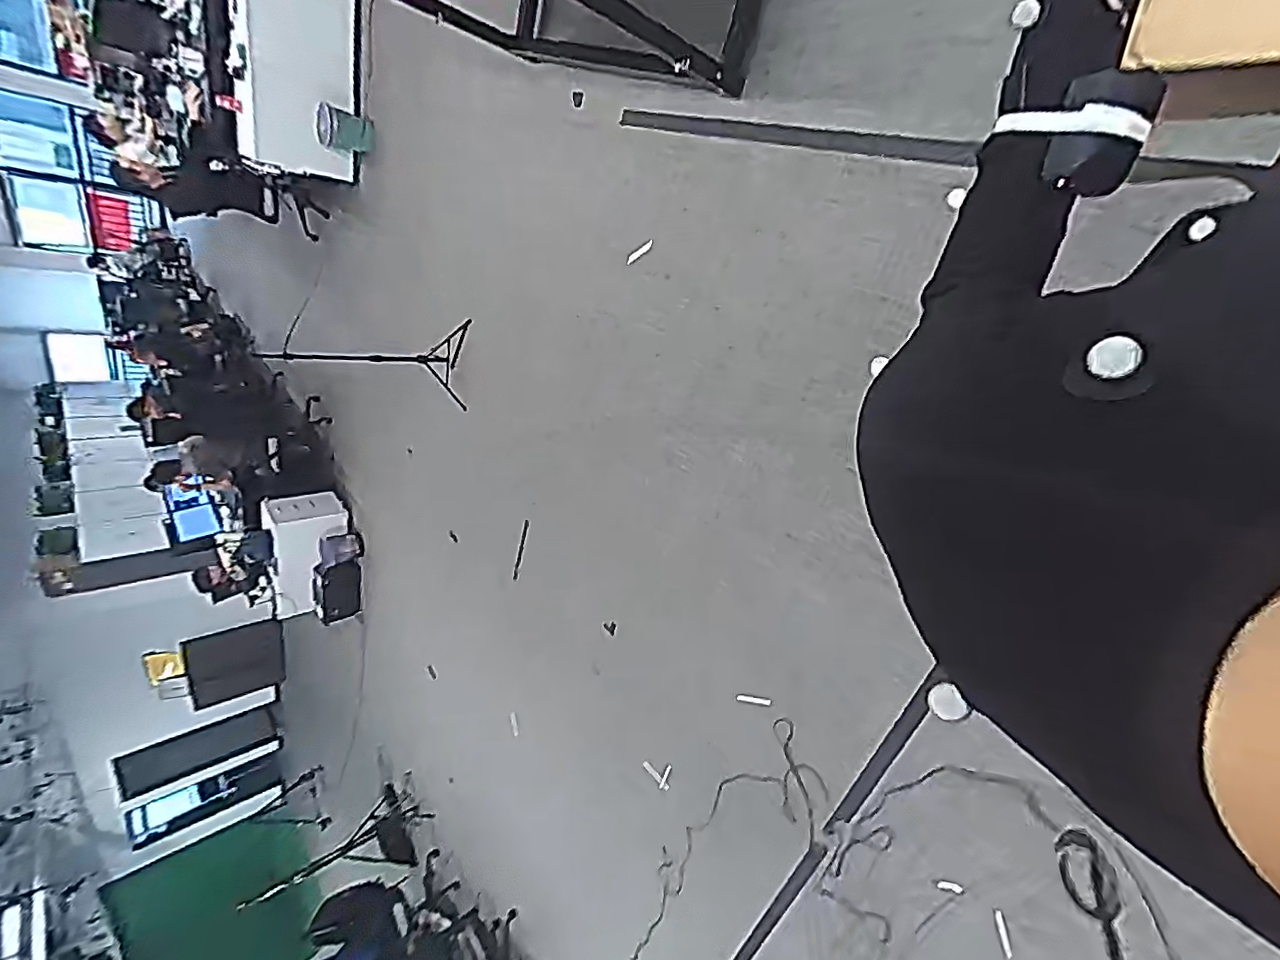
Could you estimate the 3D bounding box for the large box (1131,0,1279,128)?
[{"bbox_3d":[0.567,-0.387,0.270,0.408,0.320,0.320,24,126,36],"label":"large box"}]
